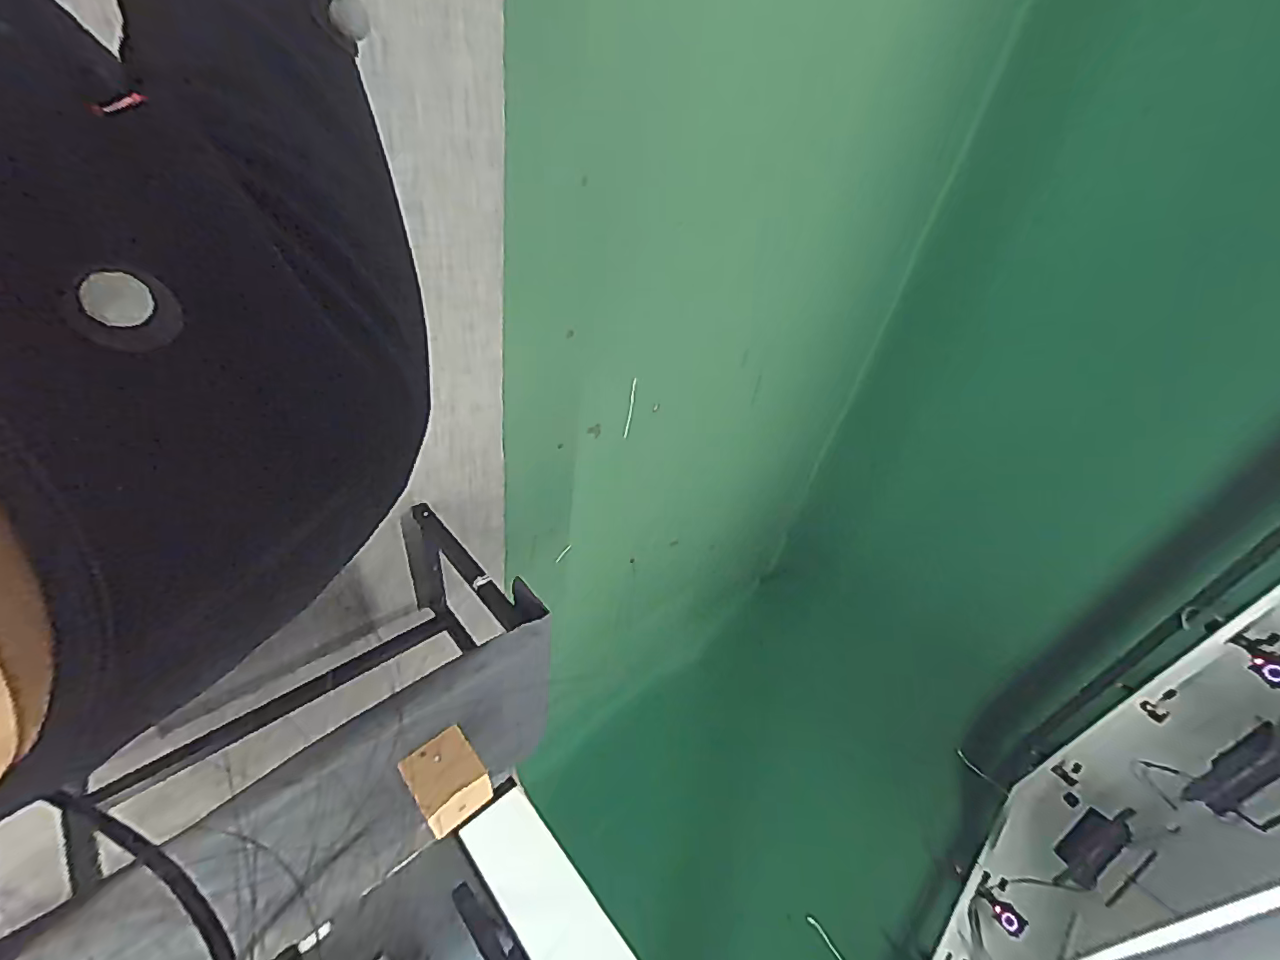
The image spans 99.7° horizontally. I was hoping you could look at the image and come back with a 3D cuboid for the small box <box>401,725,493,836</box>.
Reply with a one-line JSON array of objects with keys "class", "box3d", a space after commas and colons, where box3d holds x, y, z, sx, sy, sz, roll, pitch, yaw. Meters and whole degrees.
[{"class": "small box", "box3d": [-0.514, 0.797, 1.448, 0.168, 0.176, 0.179, -29, 143, -34]}]
